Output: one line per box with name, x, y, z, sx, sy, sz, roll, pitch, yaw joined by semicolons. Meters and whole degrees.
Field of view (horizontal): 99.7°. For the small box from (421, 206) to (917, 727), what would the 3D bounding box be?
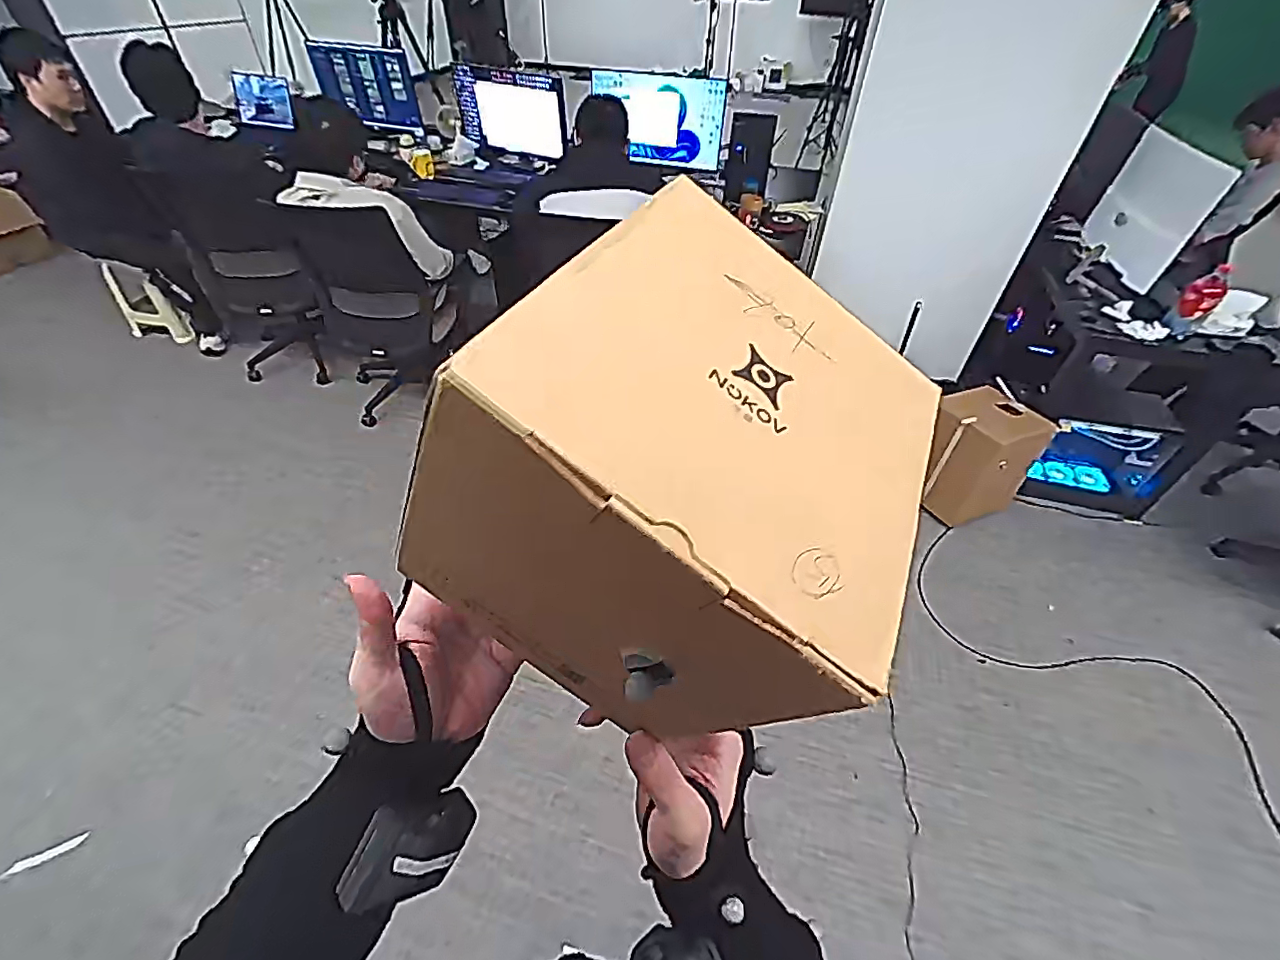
small box;0.007;0.005;0.284;0.168;0.176;0.179;37;52;-5
